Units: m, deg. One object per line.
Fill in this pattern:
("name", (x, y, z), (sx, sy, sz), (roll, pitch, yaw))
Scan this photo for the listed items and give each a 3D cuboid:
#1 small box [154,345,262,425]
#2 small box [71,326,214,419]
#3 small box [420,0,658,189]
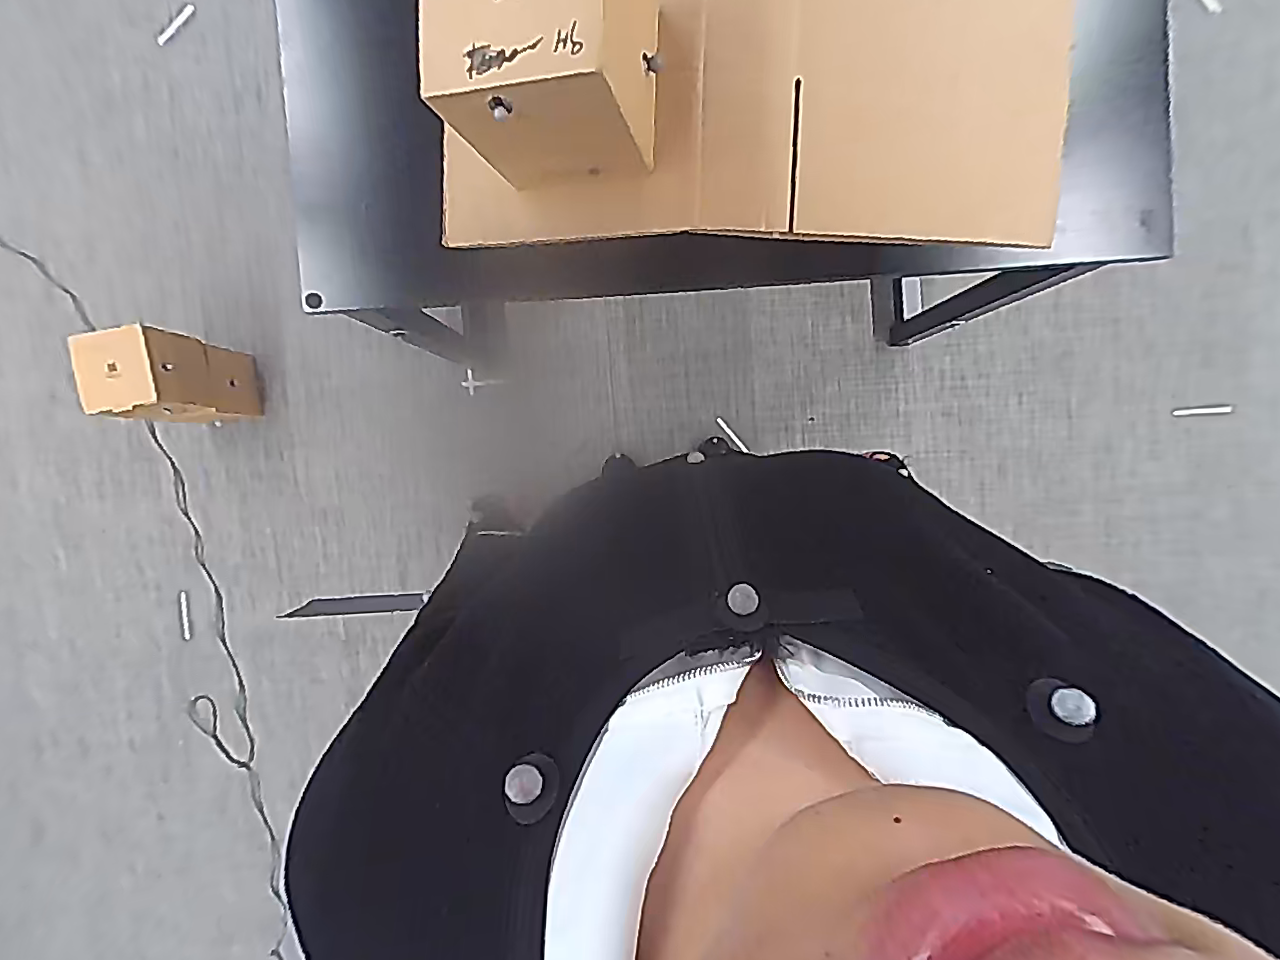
("small box", (-1.135, -0.243, 1.416), (0.168, 0.176, 0.179), (-8, 93, 1))
("small box", (-1.139, -0.240, 1.253), (0.168, 0.176, 0.179), (-10, 92, 0))
("small box", (-0.082, -0.408, 0.511), (0.168, 0.176, 0.179), (3, 93, 15))
